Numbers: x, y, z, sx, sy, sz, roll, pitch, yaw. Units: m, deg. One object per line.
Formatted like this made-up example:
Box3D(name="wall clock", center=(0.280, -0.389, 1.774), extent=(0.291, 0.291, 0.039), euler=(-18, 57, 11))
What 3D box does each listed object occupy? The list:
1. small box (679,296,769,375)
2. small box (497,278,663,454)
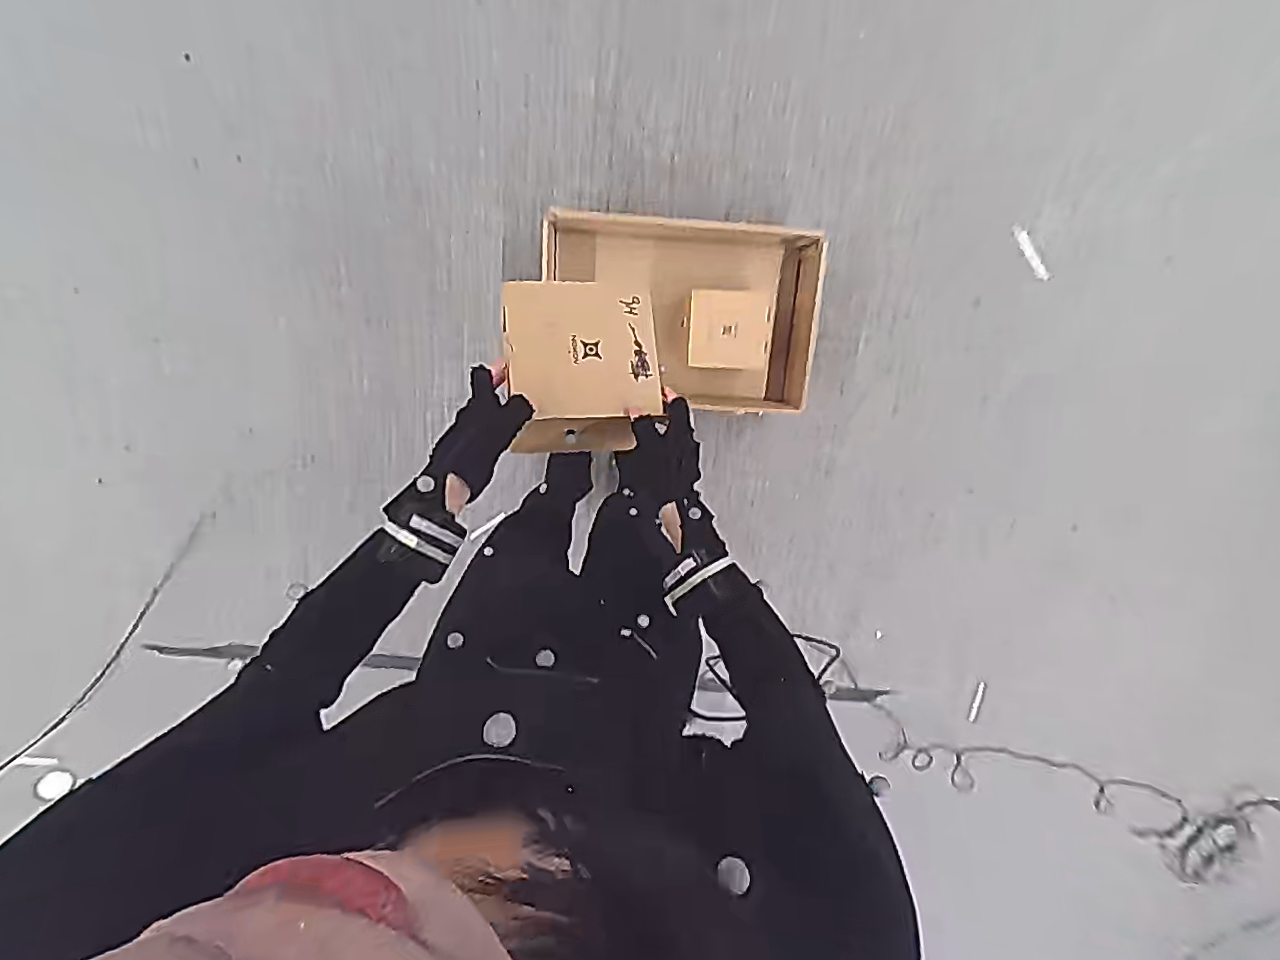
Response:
Box3D(name="small box", center=(0.190, -0.338, 1.270), extent=(0.179, 0.176, 0.168), euler=(1, 103, -2))
Box3D(name="small box", center=(-0.083, -0.132, 0.677), extent=(0.179, 0.176, 0.168), euler=(-3, 80, -15))
